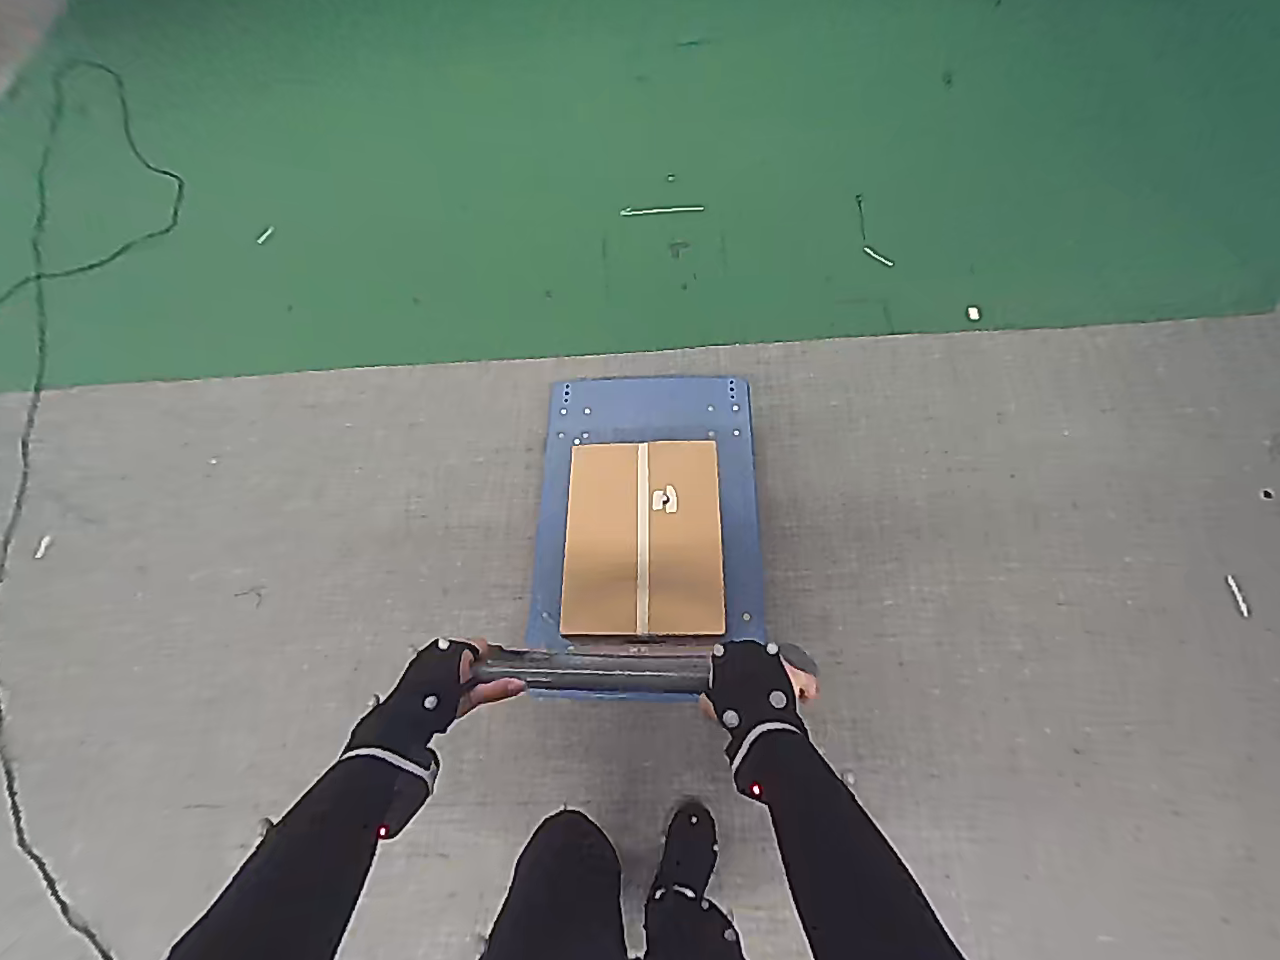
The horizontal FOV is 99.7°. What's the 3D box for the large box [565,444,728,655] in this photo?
[{"bbox_3d":[0.024,0.170,1.225,0.320,0.320,0.408,-1,65,4],"label":"large box"}]
